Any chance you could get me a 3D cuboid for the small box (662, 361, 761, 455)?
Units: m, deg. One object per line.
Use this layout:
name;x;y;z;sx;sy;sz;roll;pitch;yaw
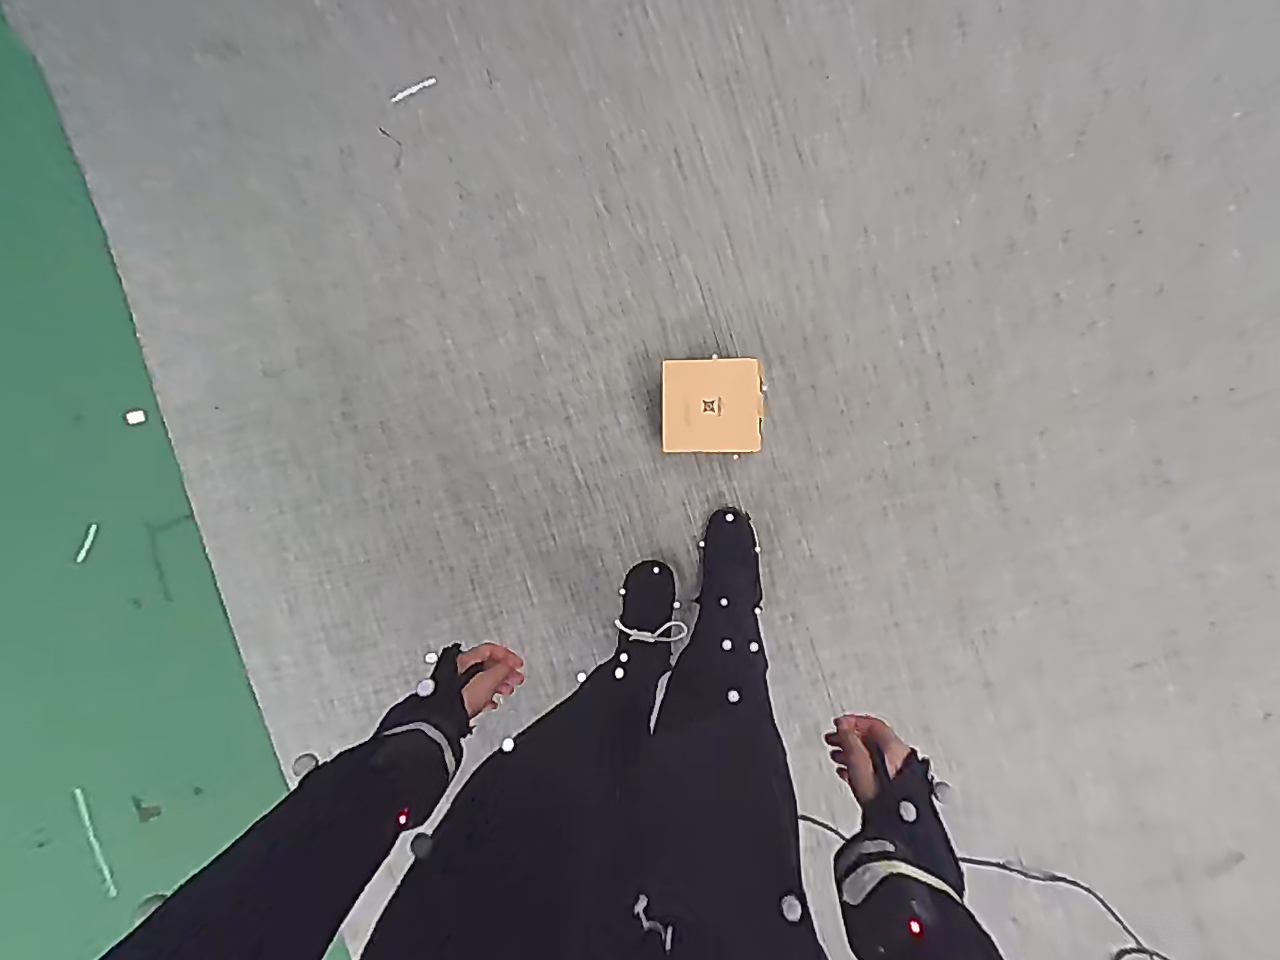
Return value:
small box;0.138;-0.134;1.036;0.179;0.176;0.168;0;94;10
